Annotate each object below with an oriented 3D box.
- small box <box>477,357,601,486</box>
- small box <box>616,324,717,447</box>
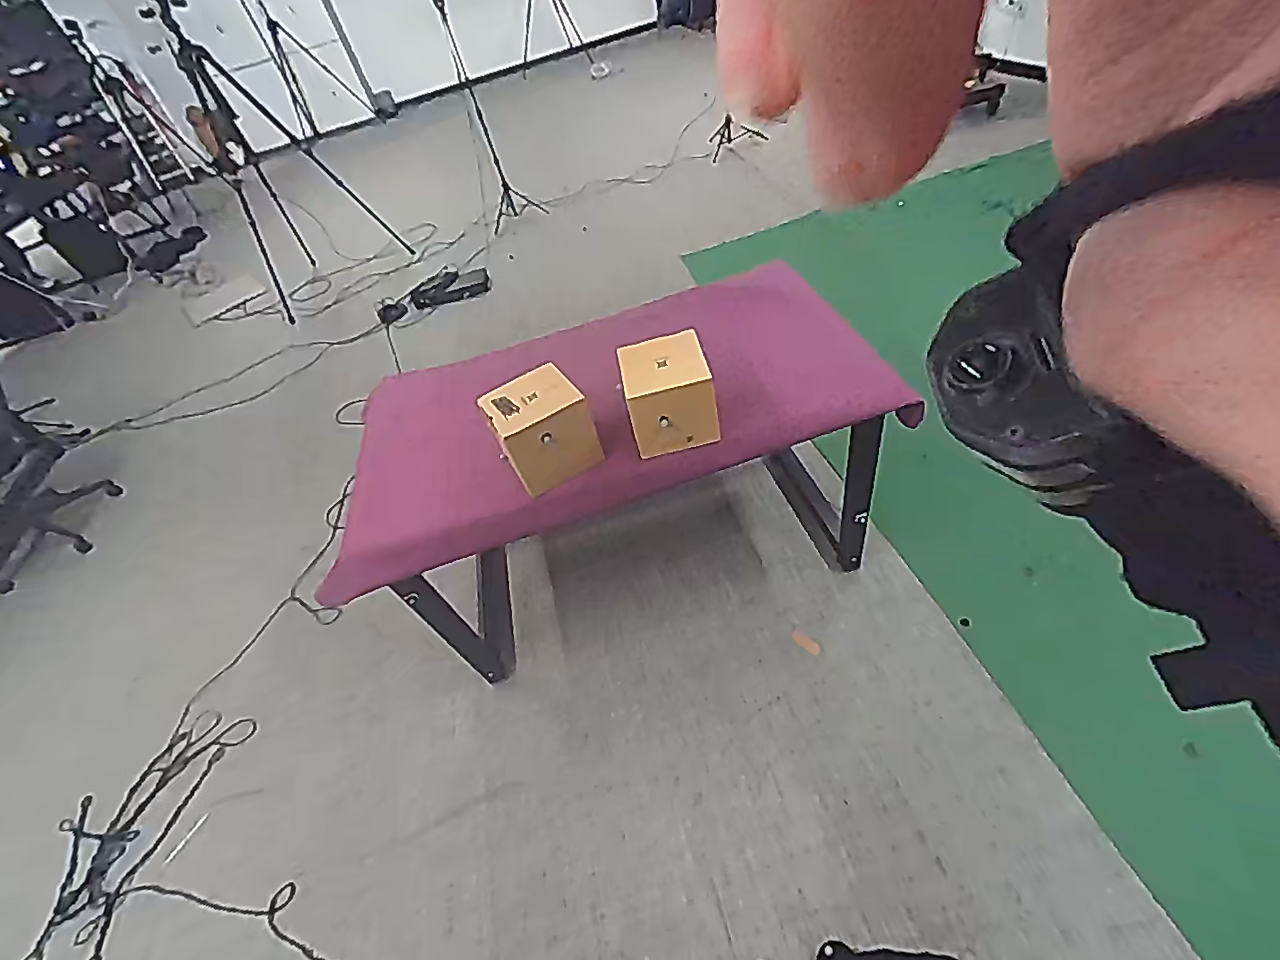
[{"bbox_3d":[-0.204,-0.119,1.116,0.179,0.176,0.168,-29,47,-13],"label":"small box"},{"bbox_3d":[0.056,-0.186,1.109,0.168,0.176,0.179,-14,46,3],"label":"small box"}]
